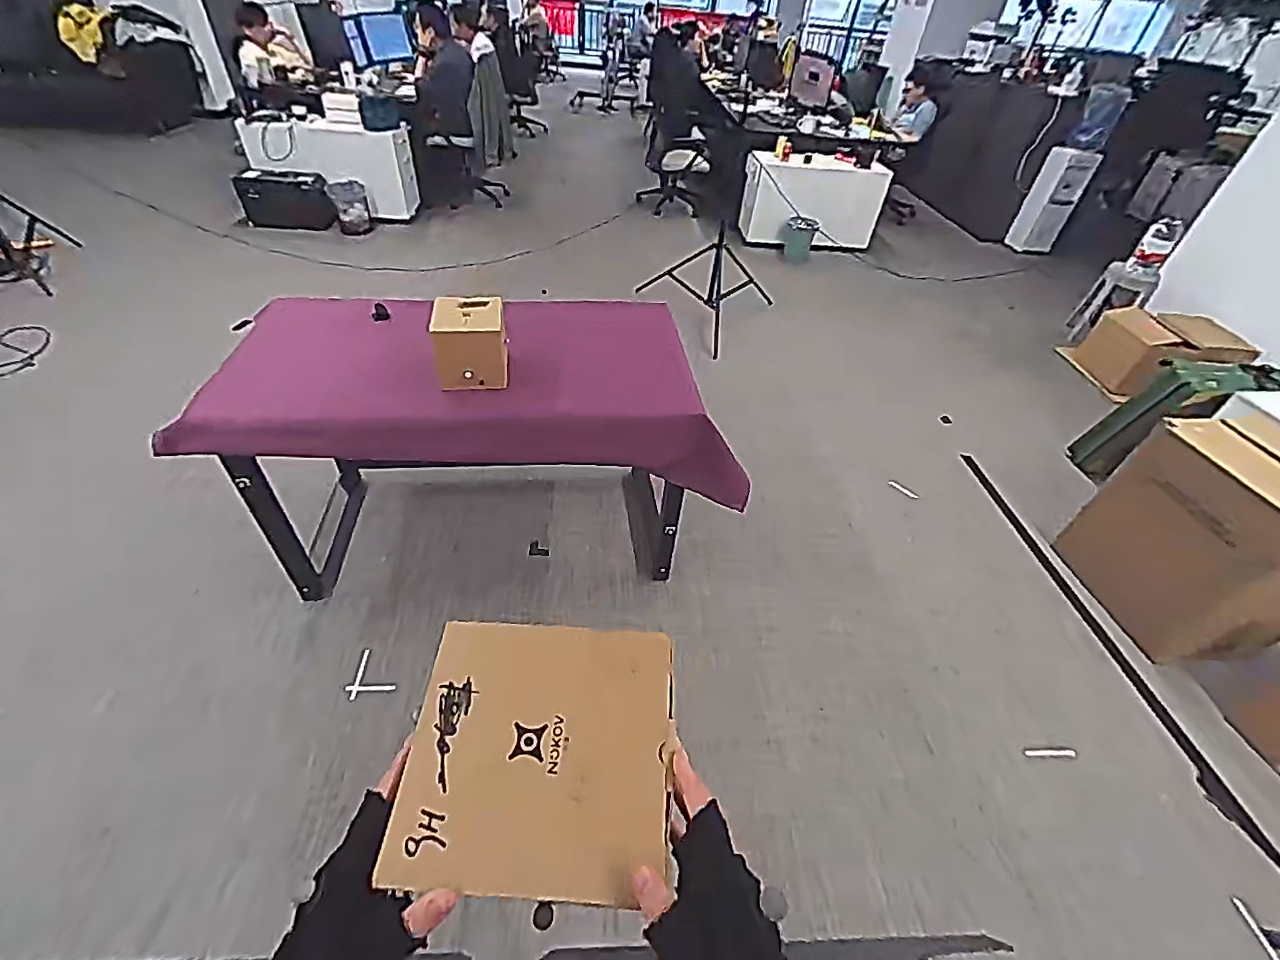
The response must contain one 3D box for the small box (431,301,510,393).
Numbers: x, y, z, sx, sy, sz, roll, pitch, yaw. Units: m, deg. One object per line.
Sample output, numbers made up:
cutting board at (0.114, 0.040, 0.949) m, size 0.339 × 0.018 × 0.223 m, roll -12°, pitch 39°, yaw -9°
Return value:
small box at (-0.427, -0.340, 1.385) m, size 0.168 × 0.176 × 0.179 m, roll -3°, pitch 44°, yaw -10°
